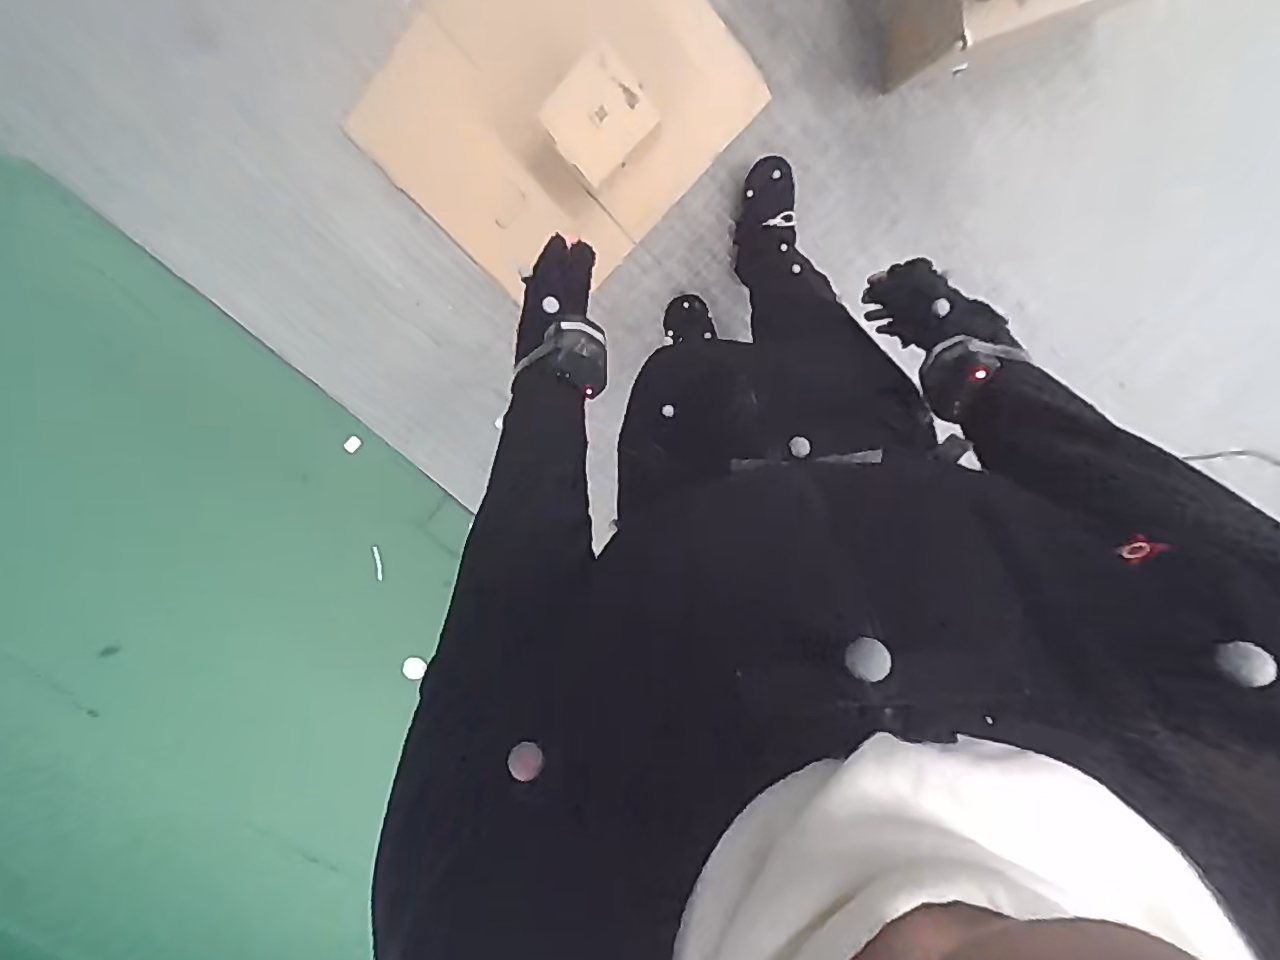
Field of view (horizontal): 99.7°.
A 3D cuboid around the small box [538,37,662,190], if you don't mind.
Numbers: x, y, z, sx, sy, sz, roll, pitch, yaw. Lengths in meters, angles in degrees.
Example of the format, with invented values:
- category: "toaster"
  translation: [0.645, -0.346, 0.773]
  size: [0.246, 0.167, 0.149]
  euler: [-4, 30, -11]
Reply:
- category: "small box"
  translation: [-0.069, -0.711, 1.077]
  size: [0.168, 0.176, 0.179]
  euler: [44, 110, -12]
